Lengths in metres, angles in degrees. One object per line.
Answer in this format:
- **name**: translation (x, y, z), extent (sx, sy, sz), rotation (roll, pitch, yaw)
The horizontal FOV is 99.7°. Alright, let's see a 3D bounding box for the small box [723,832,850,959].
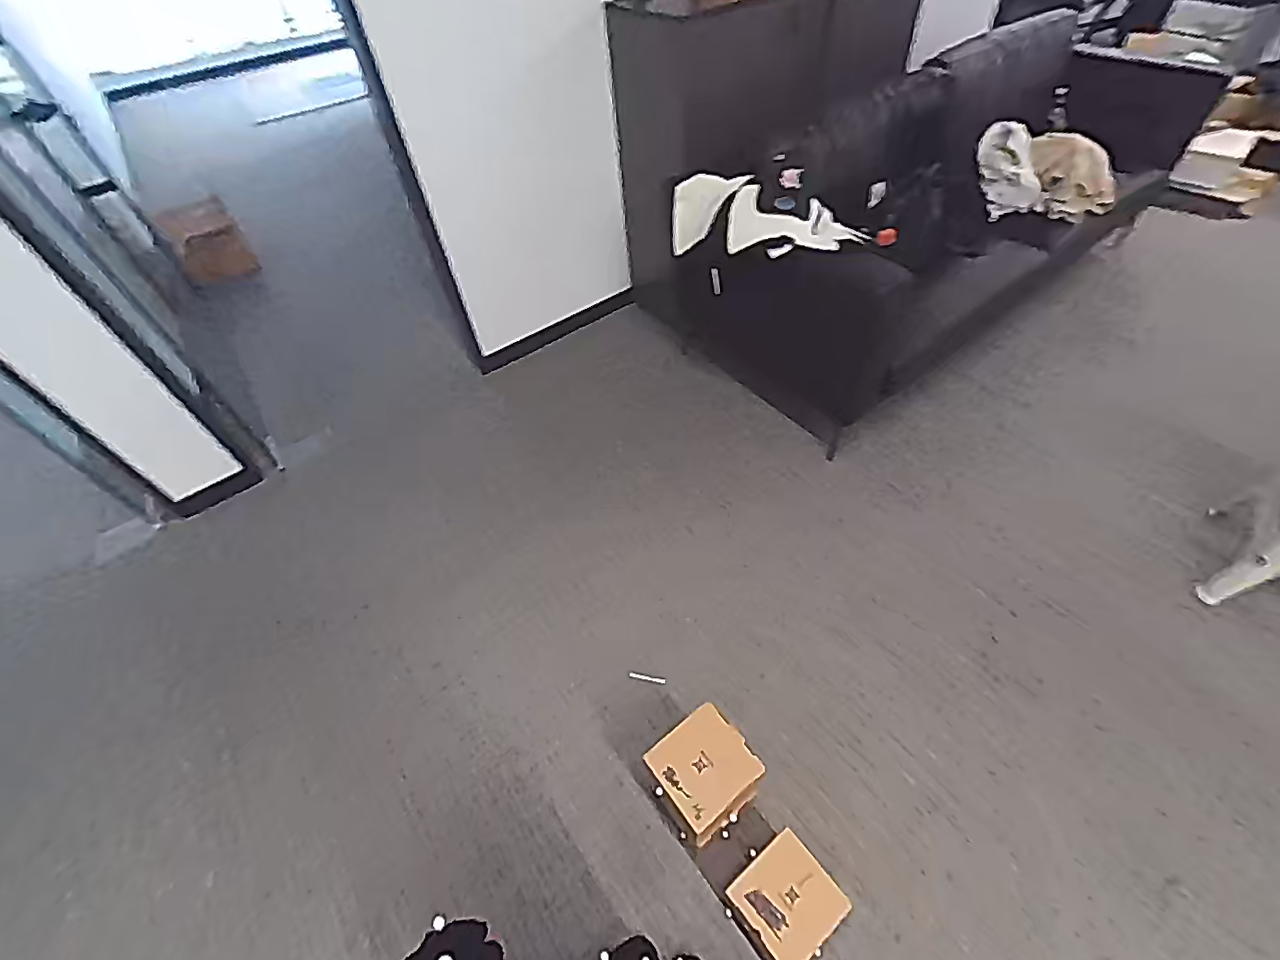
- **small box**: translation (0.282, 0.850, 1.076), extent (0.179, 0.176, 0.168), rotation (-31, 54, -21)

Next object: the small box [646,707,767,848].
- **small box**: translation (0.127, 0.600, 1.090), extent (0.179, 0.176, 0.168), rotation (-30, 54, -21)
